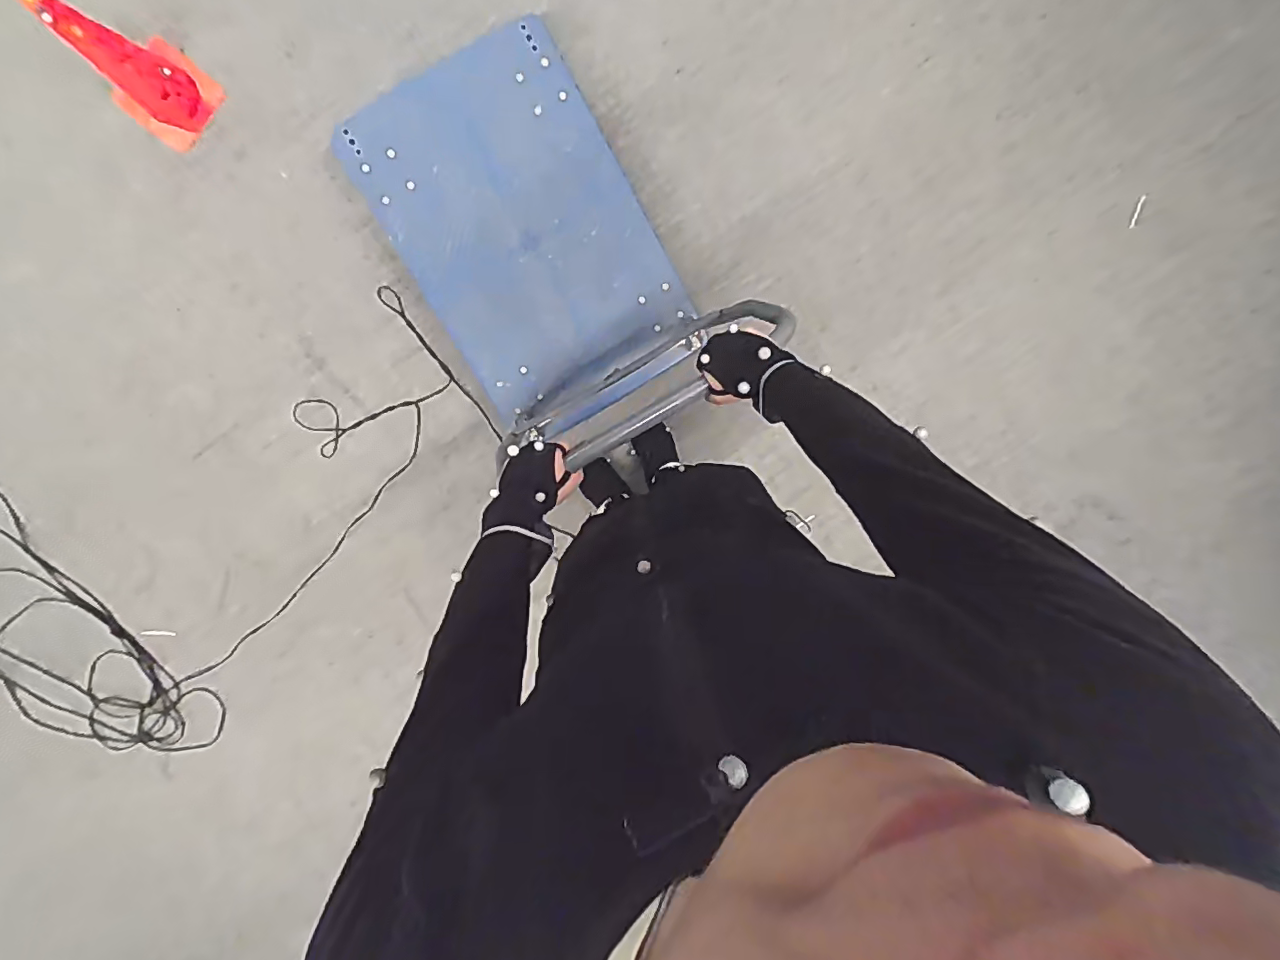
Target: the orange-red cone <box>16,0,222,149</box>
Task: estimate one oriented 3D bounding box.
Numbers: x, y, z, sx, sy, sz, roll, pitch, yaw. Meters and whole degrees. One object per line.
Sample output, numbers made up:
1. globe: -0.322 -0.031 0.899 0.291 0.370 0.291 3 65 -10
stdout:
1. orange-red cone: -1.173 -0.939 1.192 0.198 0.360 0.199 40 95 -9
